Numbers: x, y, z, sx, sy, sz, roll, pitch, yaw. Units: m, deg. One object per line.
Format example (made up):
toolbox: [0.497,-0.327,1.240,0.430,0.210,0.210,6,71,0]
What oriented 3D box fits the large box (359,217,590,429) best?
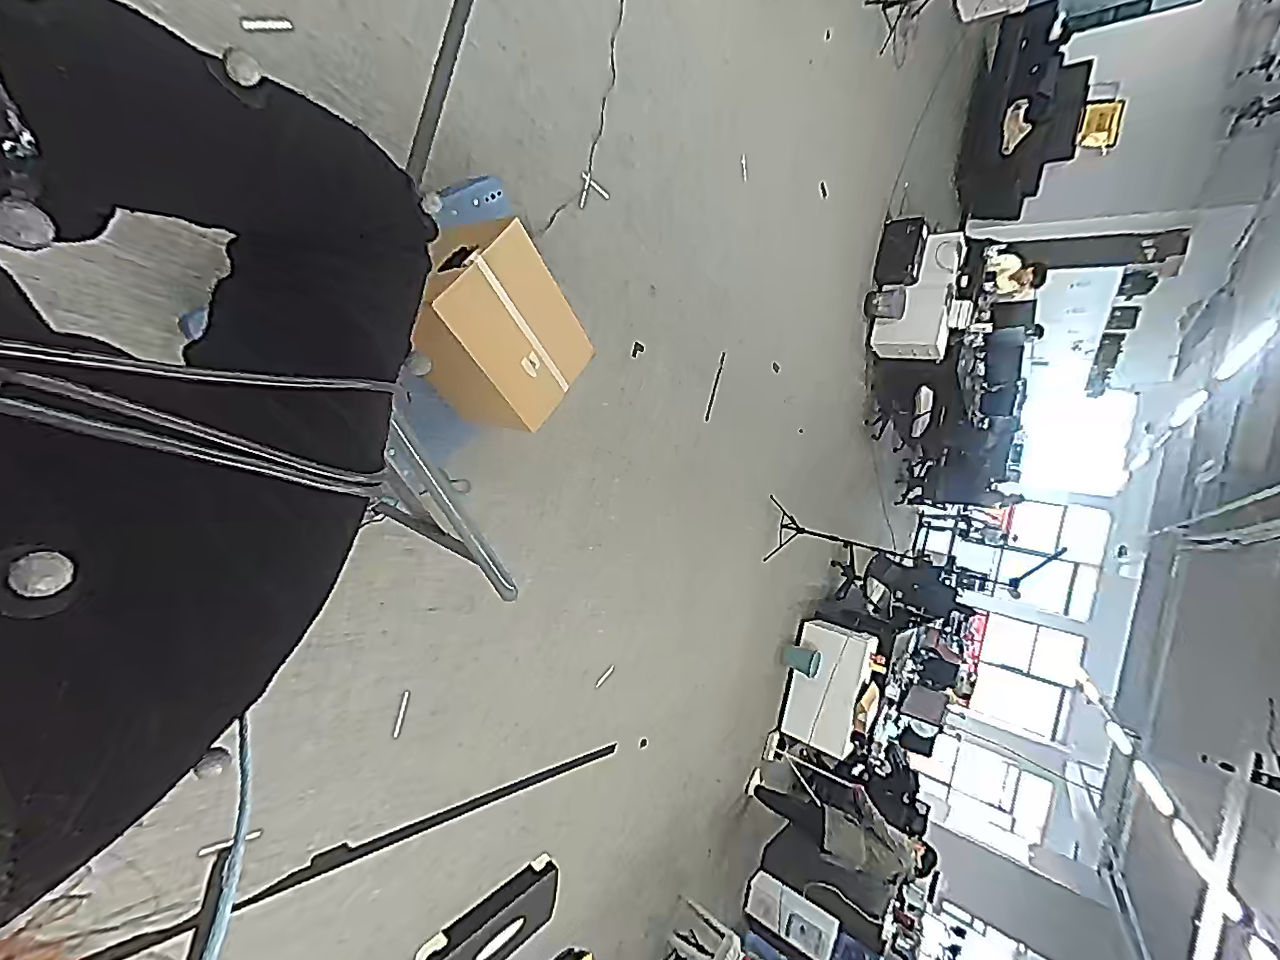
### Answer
large box: [-0.402,-0.389,1.380,0.320,0.320,0.408,-58,140,-24]
